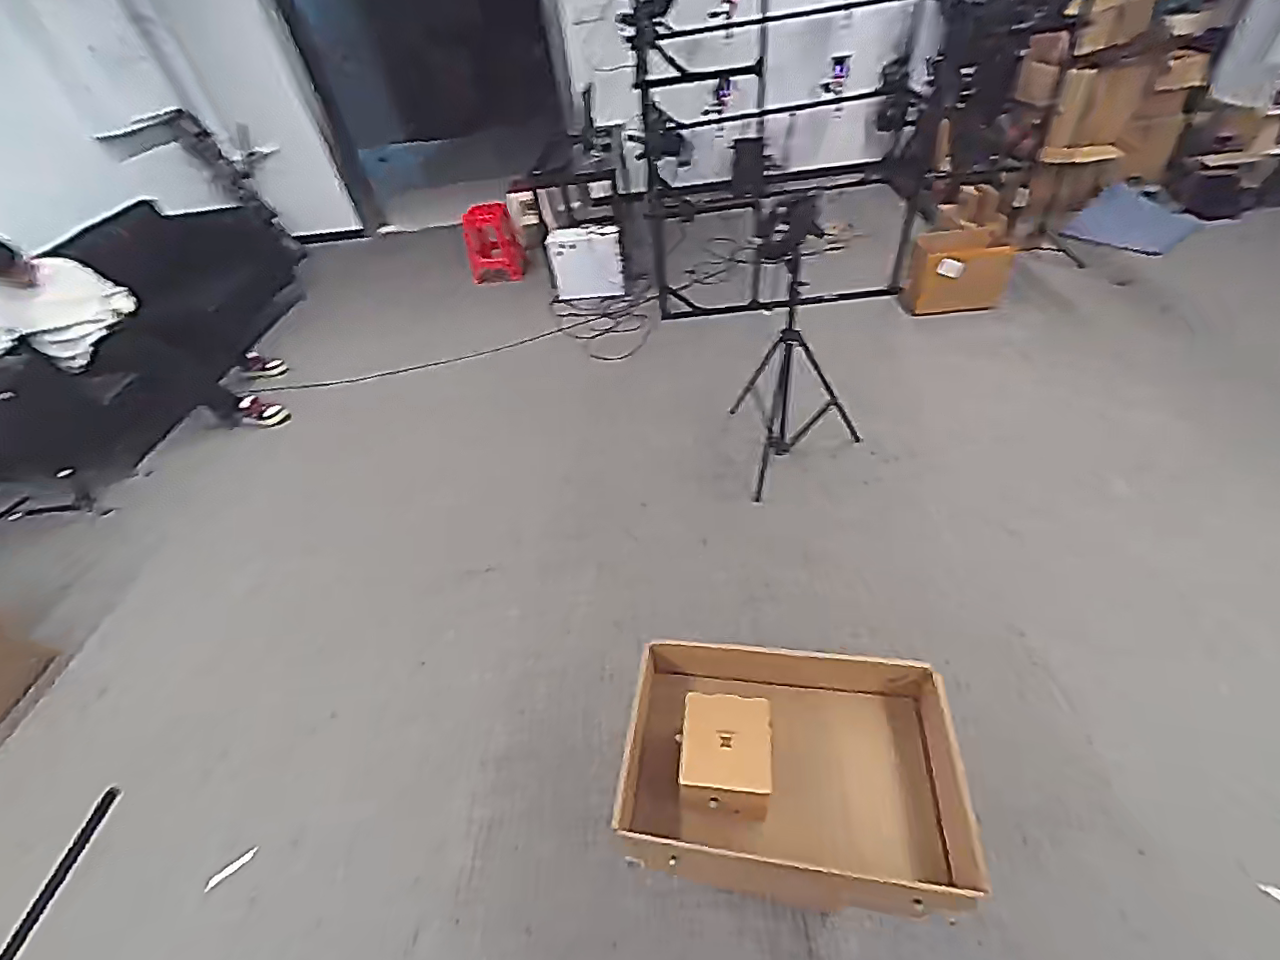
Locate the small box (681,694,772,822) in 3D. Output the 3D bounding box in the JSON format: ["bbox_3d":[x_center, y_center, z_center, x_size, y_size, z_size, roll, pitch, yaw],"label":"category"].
[{"bbox_3d":[0.177,0.554,1.074,0.168,0.176,0.179,1,43,11],"label":"small box"}]
